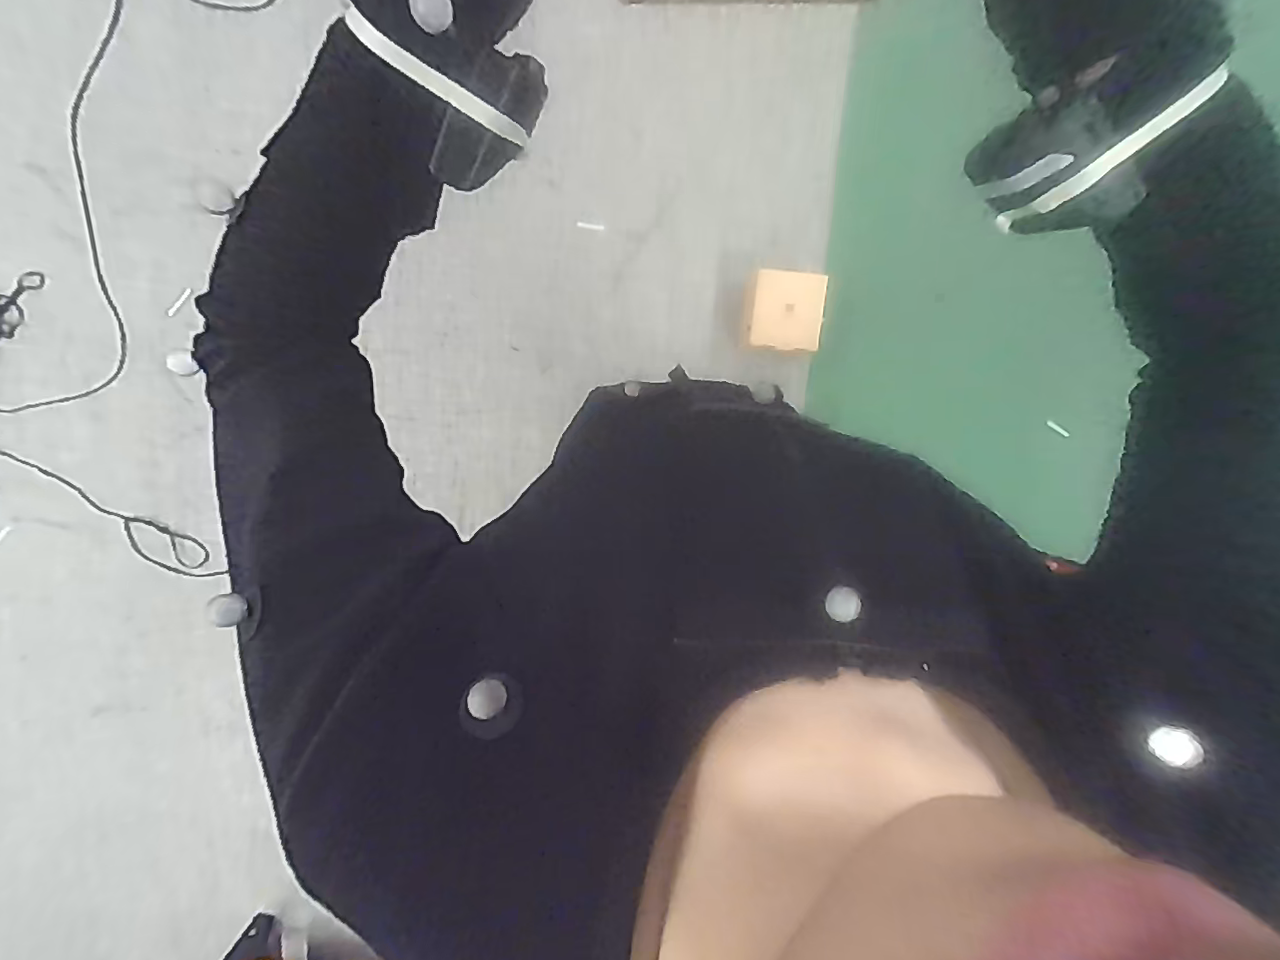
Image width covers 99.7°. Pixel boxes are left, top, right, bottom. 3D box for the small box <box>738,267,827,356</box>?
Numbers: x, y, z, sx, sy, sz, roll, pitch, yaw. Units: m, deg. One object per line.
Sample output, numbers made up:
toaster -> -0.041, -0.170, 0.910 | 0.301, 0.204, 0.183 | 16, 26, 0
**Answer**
small box -> 0.345, -0.409, 1.338 | 0.168, 0.176, 0.179 | 5, 98, -1
